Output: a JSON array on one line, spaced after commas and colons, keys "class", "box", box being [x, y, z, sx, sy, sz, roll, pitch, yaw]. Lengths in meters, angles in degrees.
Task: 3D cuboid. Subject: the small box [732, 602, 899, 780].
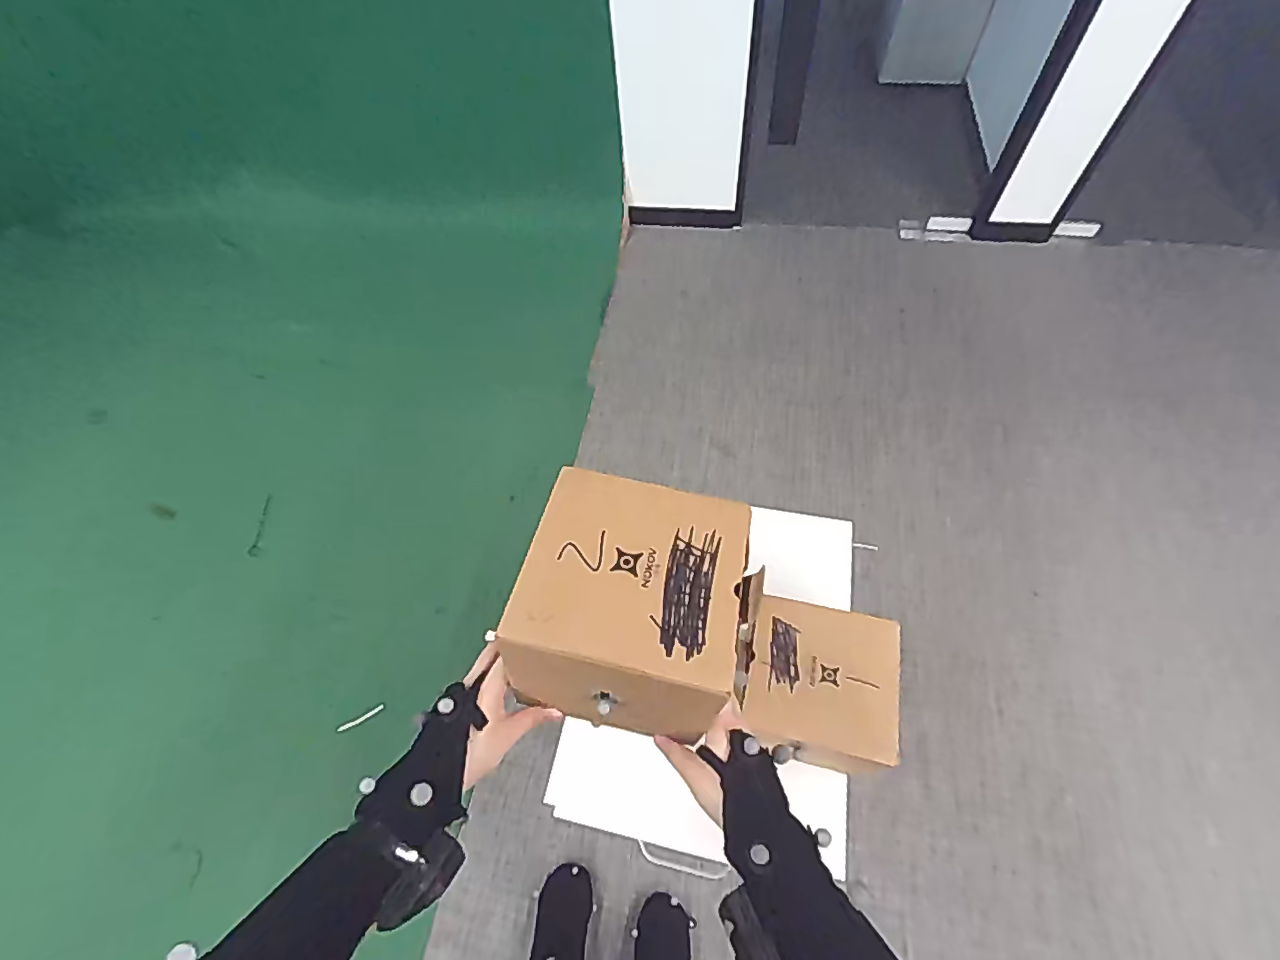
[{"class": "small box", "box": [0.223, 0.282, 0.713, 0.179, 0.176, 0.168, 11, 59, 11]}]

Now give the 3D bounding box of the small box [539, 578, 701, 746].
[{"class": "small box", "box": [-0.017, 0.255, 0.746, 0.179, 0.176, 0.168, 10, 60, 9]}]
